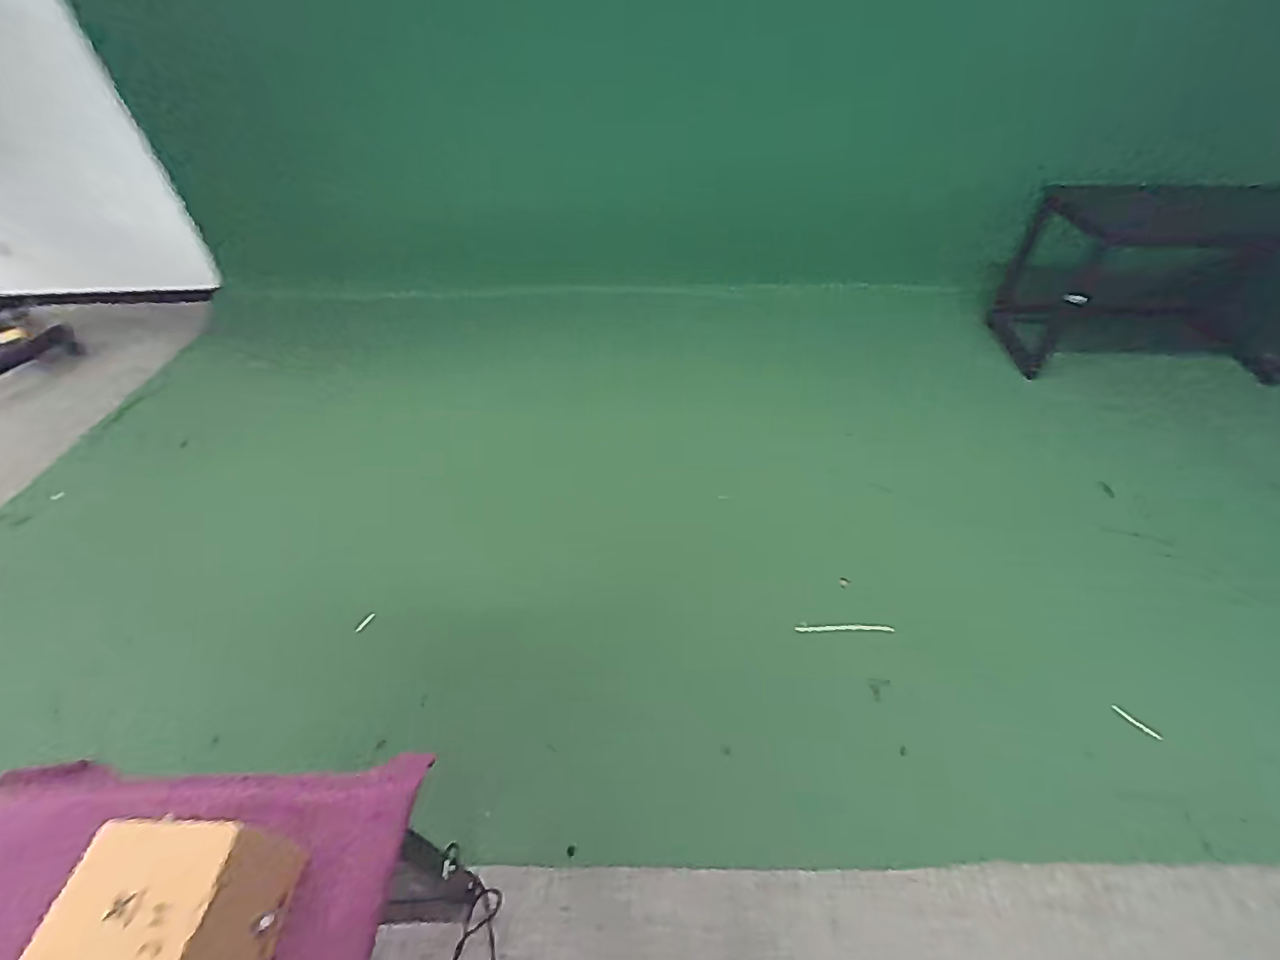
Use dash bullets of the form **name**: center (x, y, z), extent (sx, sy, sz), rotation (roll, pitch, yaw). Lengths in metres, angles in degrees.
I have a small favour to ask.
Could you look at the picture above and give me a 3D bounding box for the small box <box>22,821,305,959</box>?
- **small box**: center (-0.556, 0.525, 0.648), extent (0.179, 0.176, 0.168), rotation (-1, 47, 3)
